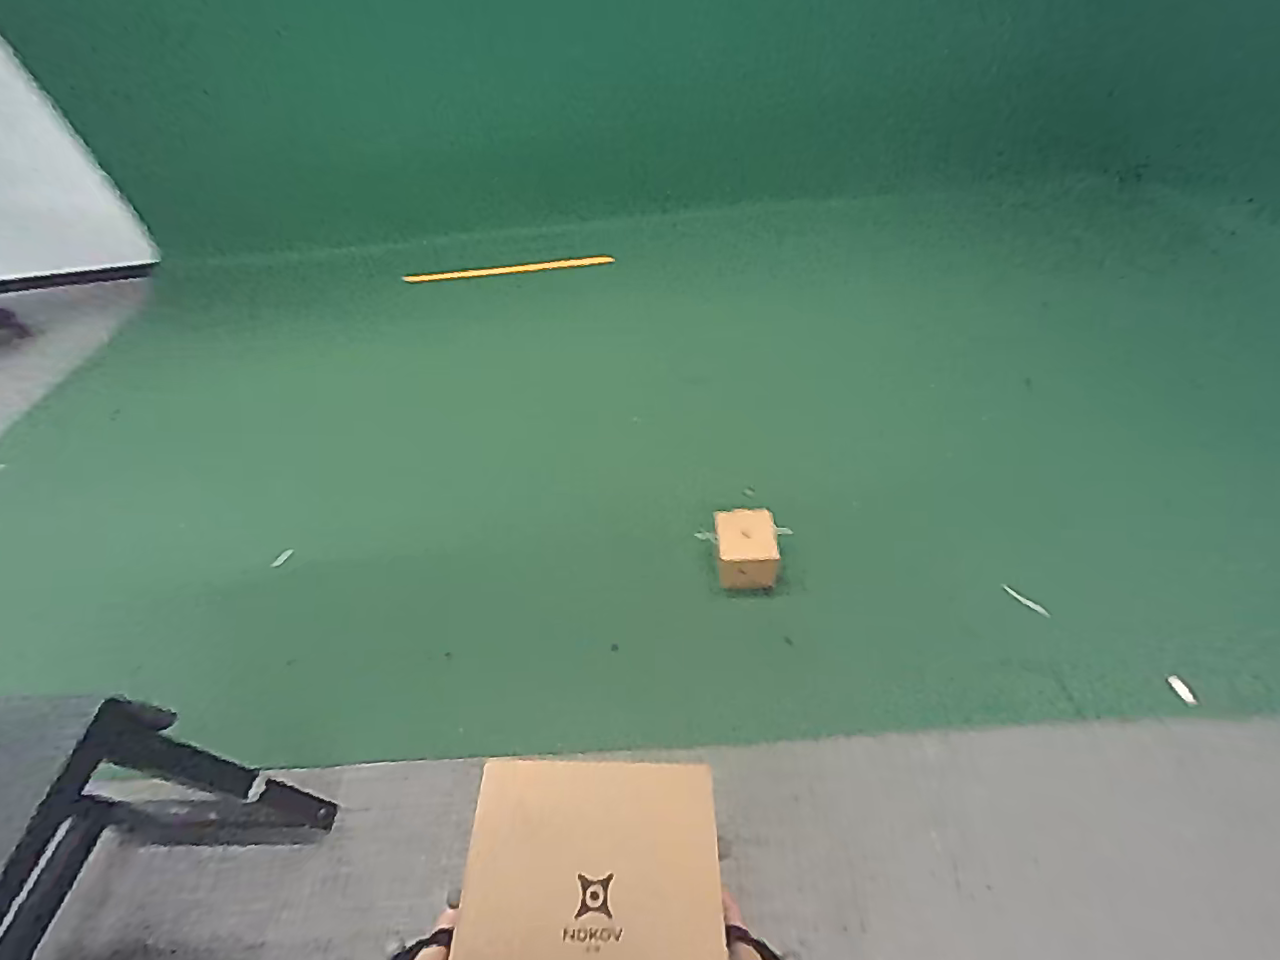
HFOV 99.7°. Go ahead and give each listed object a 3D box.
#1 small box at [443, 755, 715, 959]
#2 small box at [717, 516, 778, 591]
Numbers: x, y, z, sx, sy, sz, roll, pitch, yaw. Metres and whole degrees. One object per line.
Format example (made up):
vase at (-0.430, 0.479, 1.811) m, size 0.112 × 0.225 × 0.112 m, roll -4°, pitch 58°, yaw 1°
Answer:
small box at (-0.042, 0.324, 0.397) m, size 0.168 × 0.176 × 0.179 m, roll 3°, pitch 46°, yaw -3°
small box at (0.326, 0.232, 1.664) m, size 0.168 × 0.176 × 0.179 m, roll -3°, pitch 47°, yaw 4°
